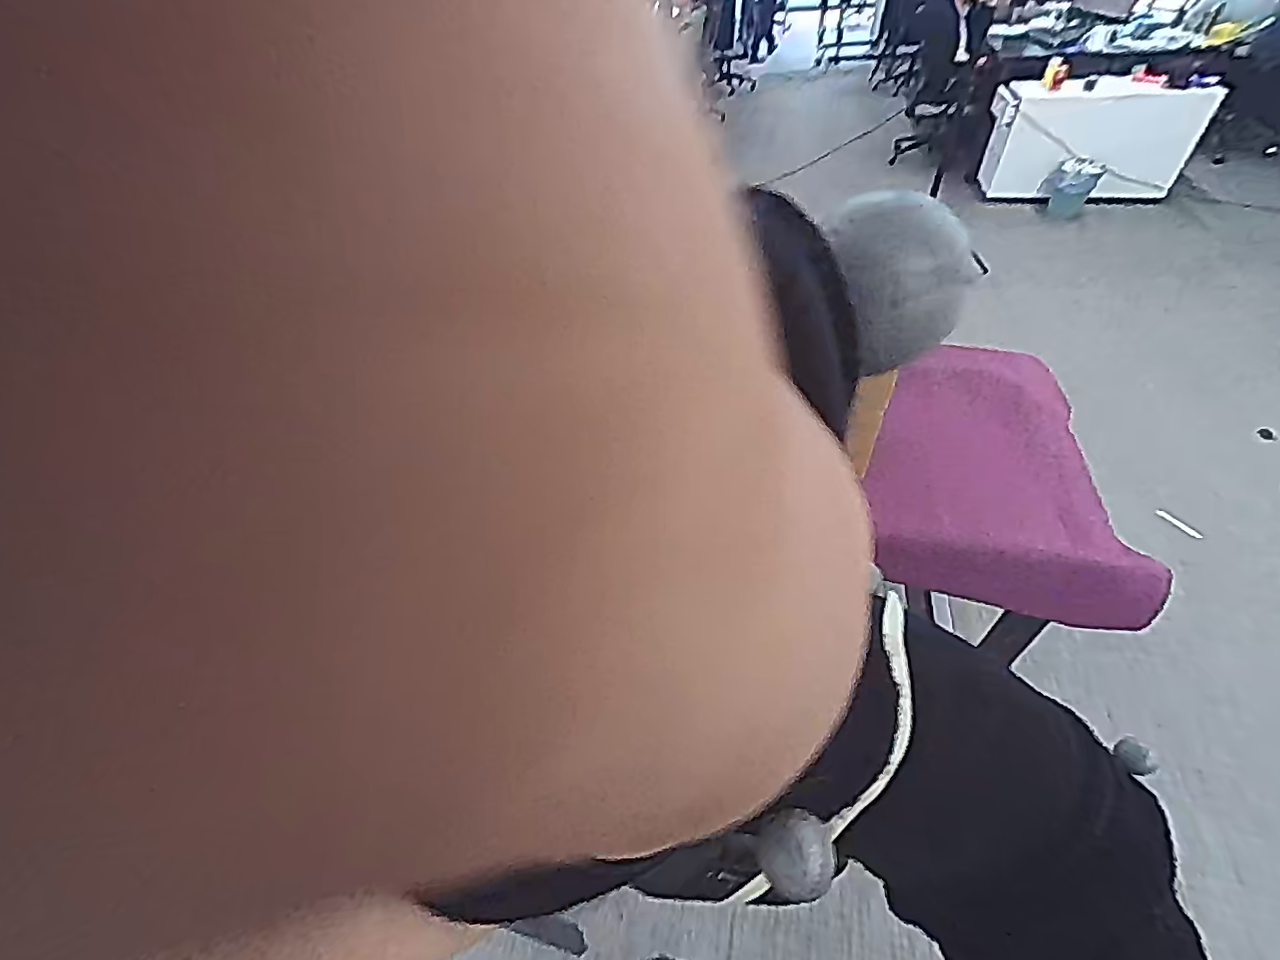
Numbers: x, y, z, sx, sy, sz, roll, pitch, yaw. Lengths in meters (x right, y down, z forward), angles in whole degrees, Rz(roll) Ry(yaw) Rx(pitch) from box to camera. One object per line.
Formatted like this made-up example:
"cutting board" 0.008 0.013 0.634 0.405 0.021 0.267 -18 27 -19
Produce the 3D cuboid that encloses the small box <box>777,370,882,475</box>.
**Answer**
"small box" 0.364 -0.131 1.043 0.168 0.176 0.179 10 48 15
